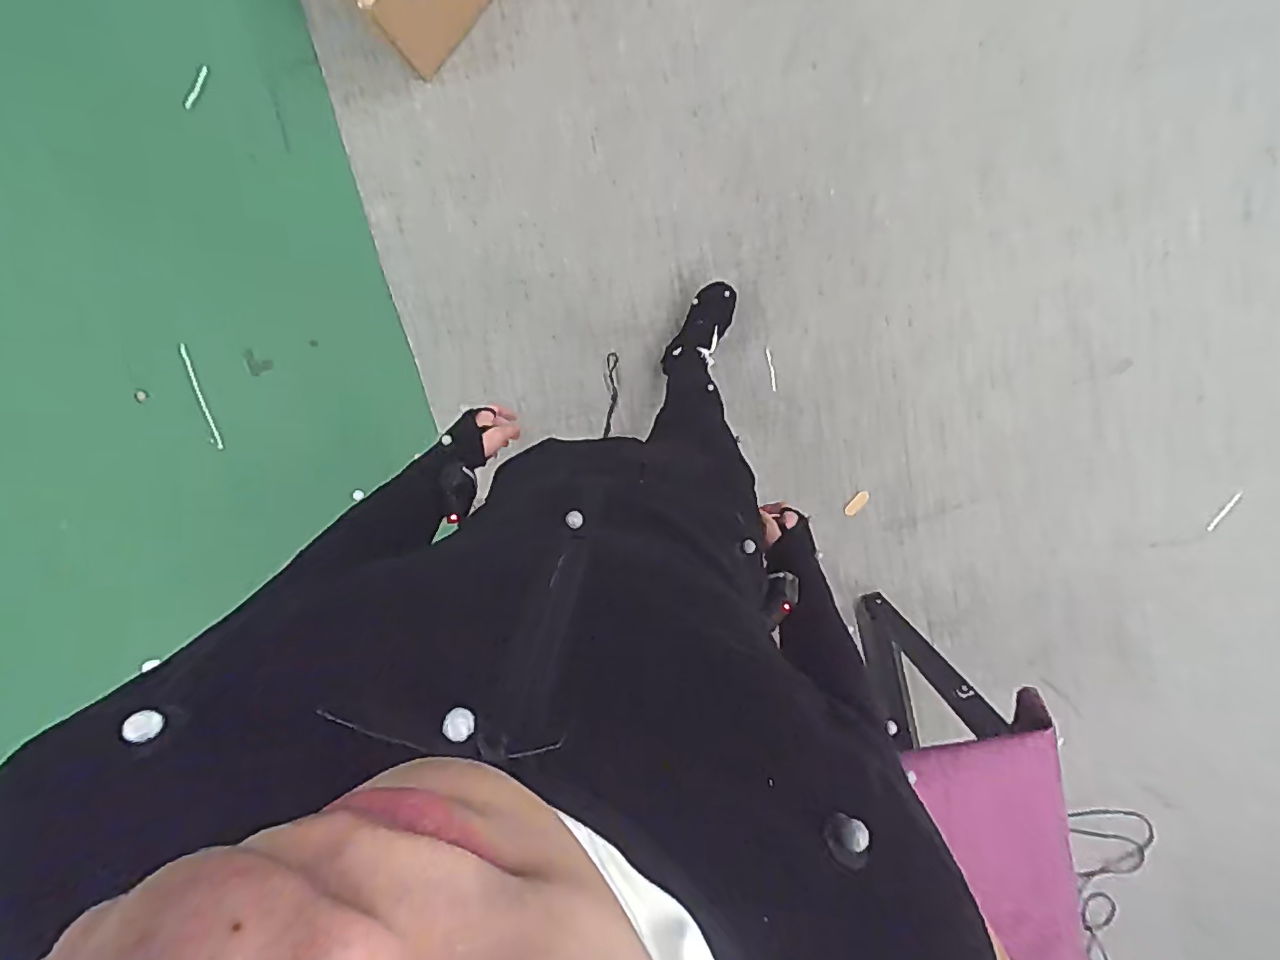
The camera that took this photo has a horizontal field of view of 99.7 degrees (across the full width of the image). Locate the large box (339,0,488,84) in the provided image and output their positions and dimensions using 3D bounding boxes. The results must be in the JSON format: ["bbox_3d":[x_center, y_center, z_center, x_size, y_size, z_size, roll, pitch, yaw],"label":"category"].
[{"bbox_3d":[-0.536,-1.240,1.216,0.320,0.320,0.408,43,100,-6],"label":"large box"}]
